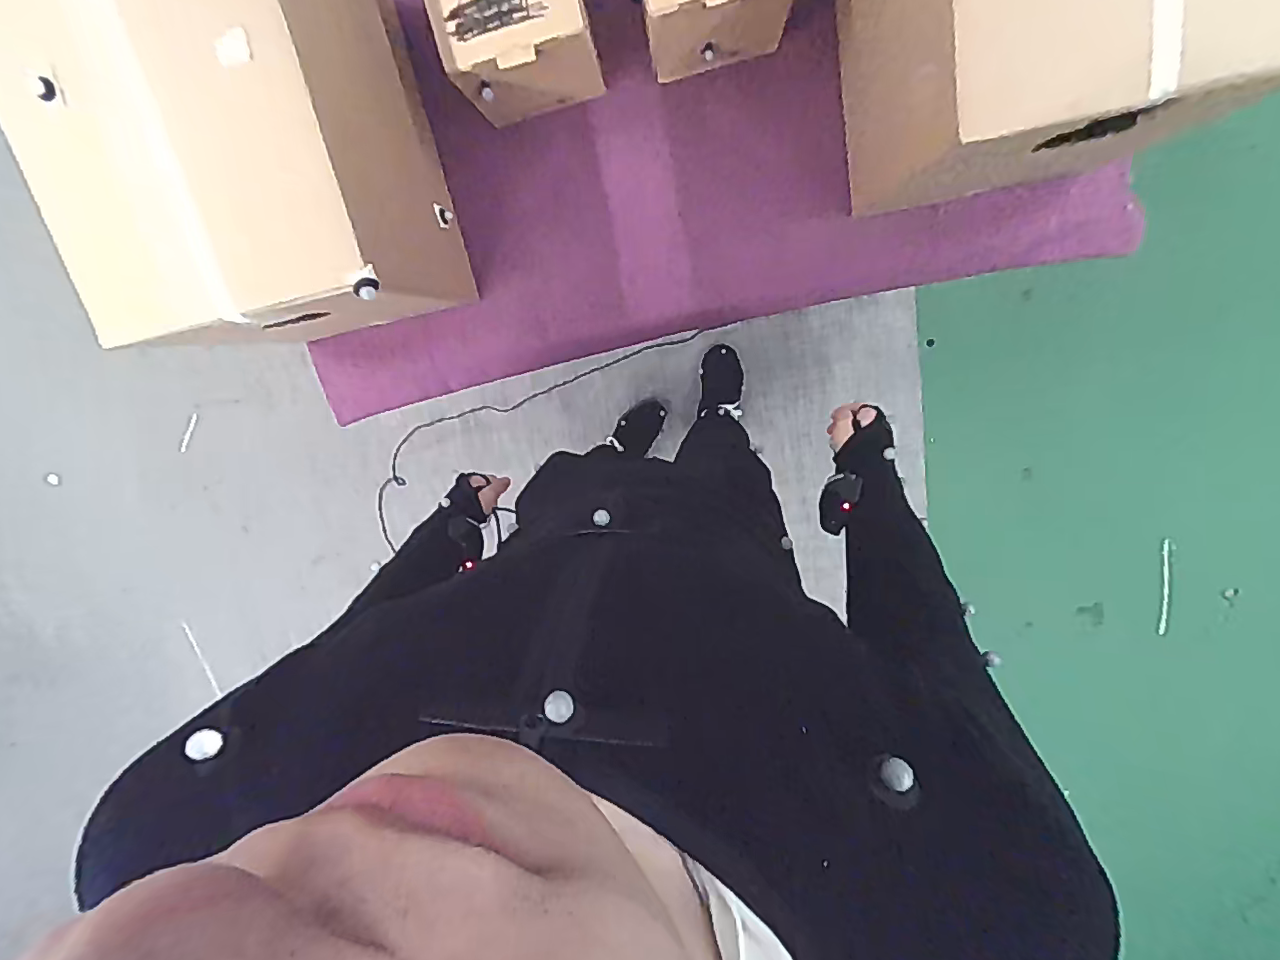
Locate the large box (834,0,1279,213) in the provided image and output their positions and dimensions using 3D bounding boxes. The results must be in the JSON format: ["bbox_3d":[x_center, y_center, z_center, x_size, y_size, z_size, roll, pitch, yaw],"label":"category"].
[{"bbox_3d":[0.400,-0.547,0.550,0.320,0.320,0.408,-10,105,8],"label":"large box"}]
